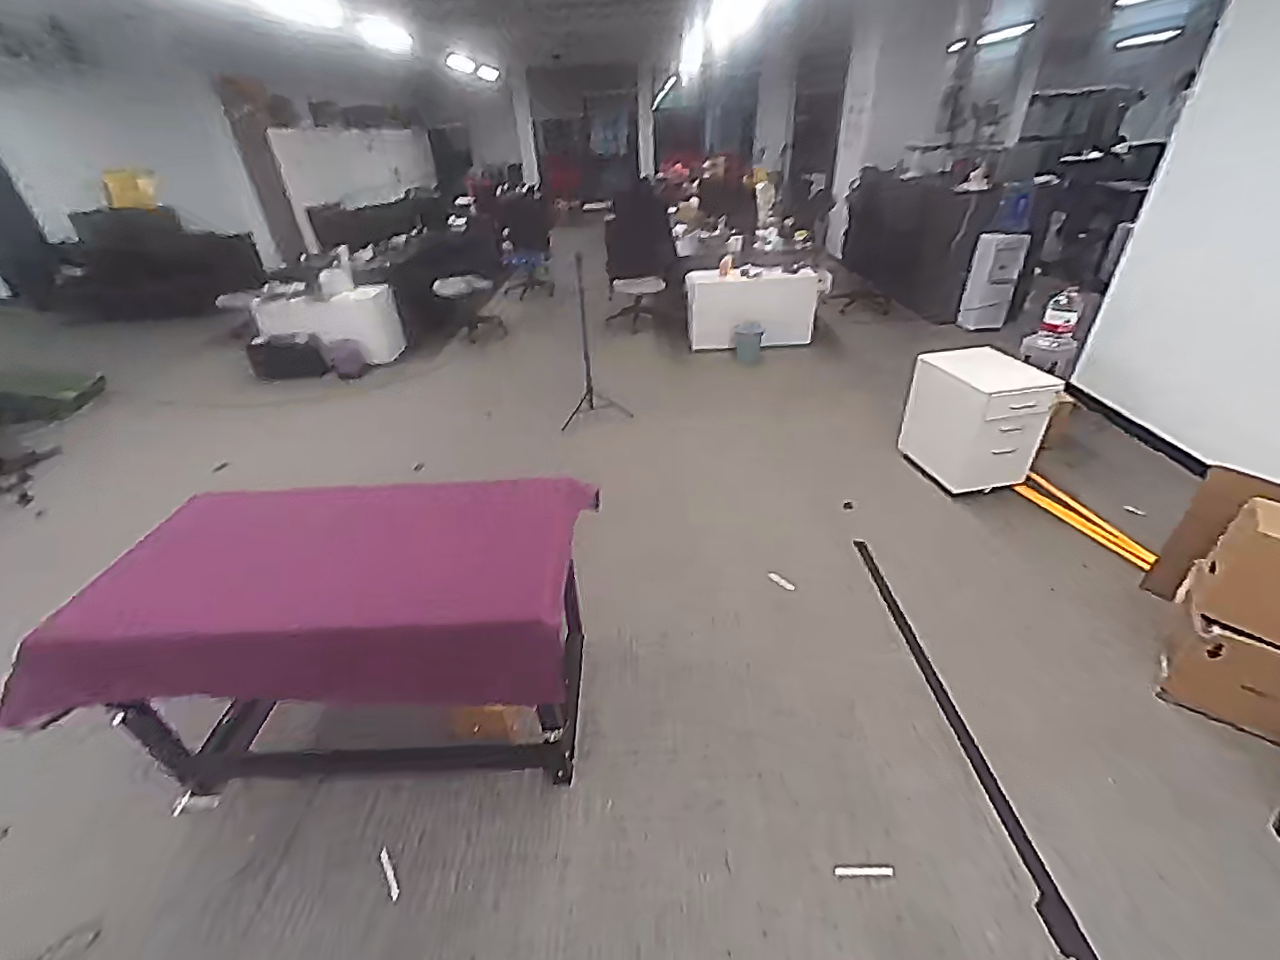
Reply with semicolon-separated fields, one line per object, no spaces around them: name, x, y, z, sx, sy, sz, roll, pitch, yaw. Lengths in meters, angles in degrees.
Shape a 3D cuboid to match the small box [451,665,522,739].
small box;-0.499;0.738;1.795;0.179;0.176;0.168;-2;33;3
